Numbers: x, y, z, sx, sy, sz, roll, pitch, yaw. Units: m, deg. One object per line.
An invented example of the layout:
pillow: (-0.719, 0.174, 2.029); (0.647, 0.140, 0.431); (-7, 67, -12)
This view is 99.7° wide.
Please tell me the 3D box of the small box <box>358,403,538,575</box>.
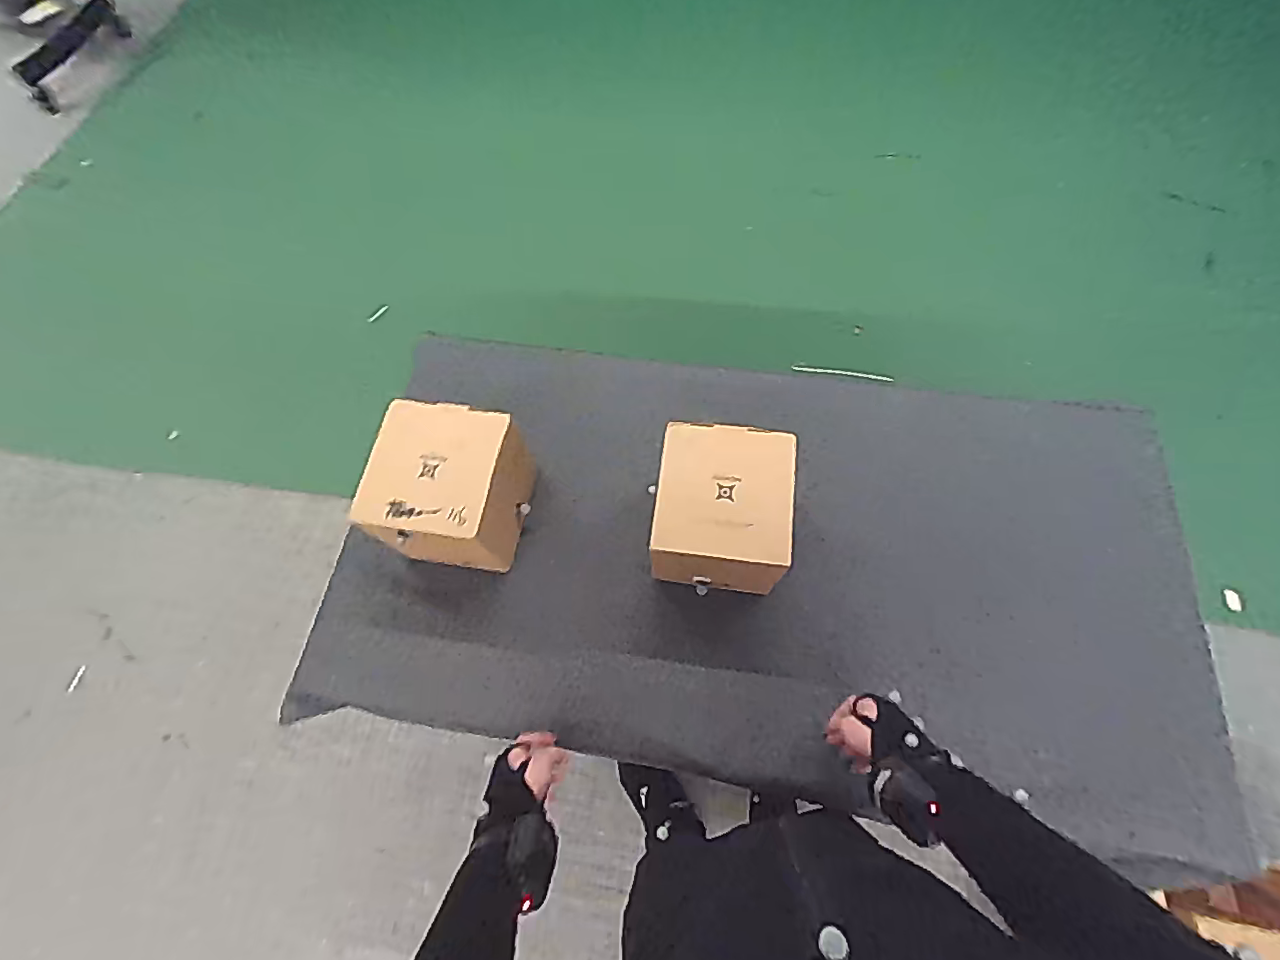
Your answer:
small box: (-0.252, 0.018, 0.765); (0.168, 0.176, 0.179); (9, 66, 7)

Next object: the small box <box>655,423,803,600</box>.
small box: (0.112, 0.048, 0.719); (0.168, 0.176, 0.179); (7, 67, 6)
